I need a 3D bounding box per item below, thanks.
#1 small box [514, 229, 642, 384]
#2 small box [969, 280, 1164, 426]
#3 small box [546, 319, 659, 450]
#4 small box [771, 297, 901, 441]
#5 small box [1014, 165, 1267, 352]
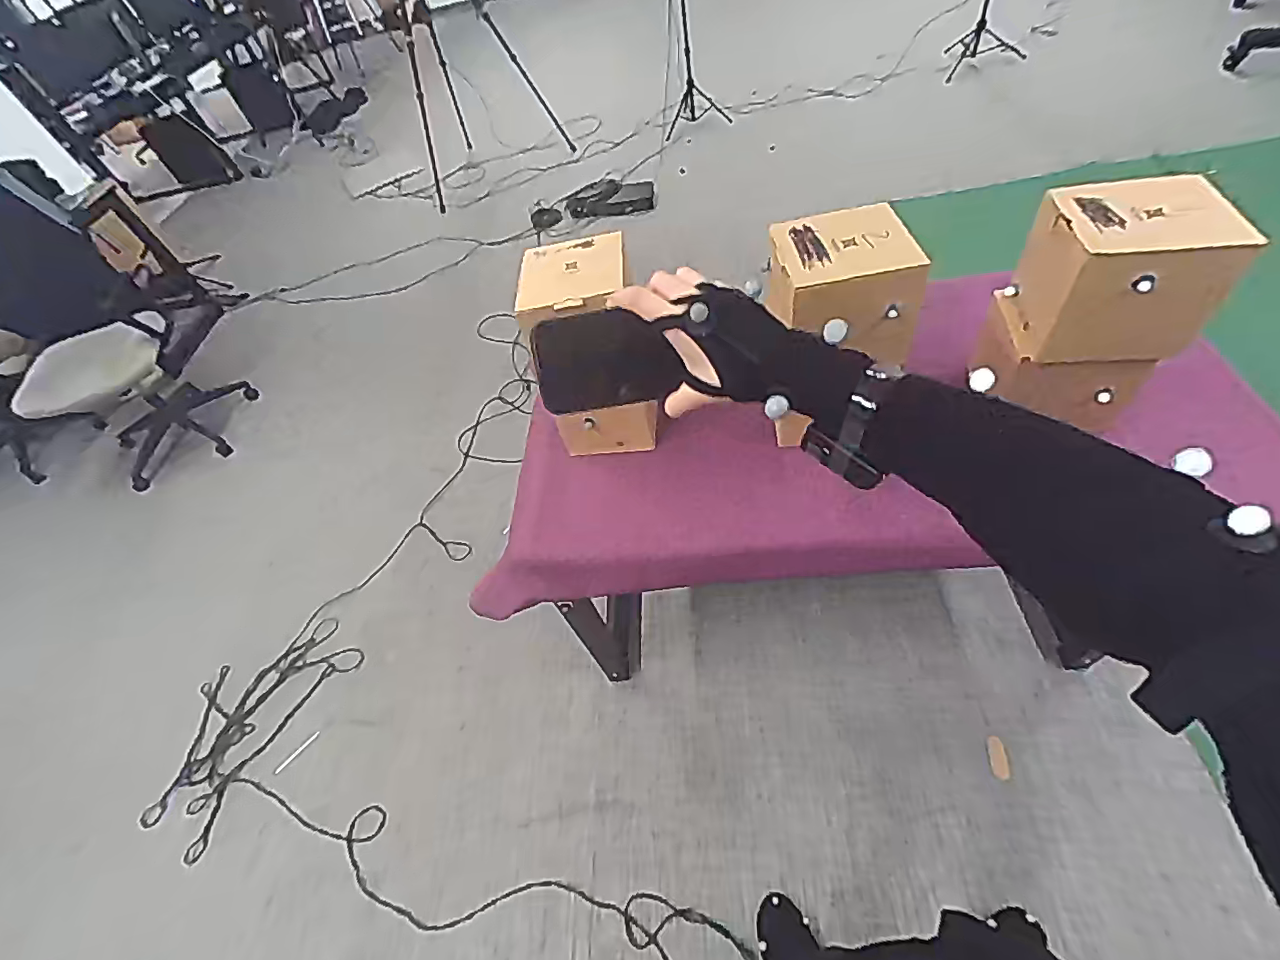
[{"bbox_3d":[-0.092,-0.274,0.886,0.168,0.176,0.179,-8,52,7],"label":"small box"},{"bbox_3d":[0.654,-0.199,0.857,0.179,0.176,0.168,0,53,14],"label":"small box"},{"bbox_3d":[-0.060,-0.169,1.009,0.168,0.176,0.179,-4,52,11],"label":"small box"},{"bbox_3d":[0.321,-0.184,0.925,0.179,0.176,0.168,-5,52,10],"label":"small box"},{"bbox_3d":[0.631,-0.286,0.719,0.179,0.176,0.168,0,53,13],"label":"small box"}]
